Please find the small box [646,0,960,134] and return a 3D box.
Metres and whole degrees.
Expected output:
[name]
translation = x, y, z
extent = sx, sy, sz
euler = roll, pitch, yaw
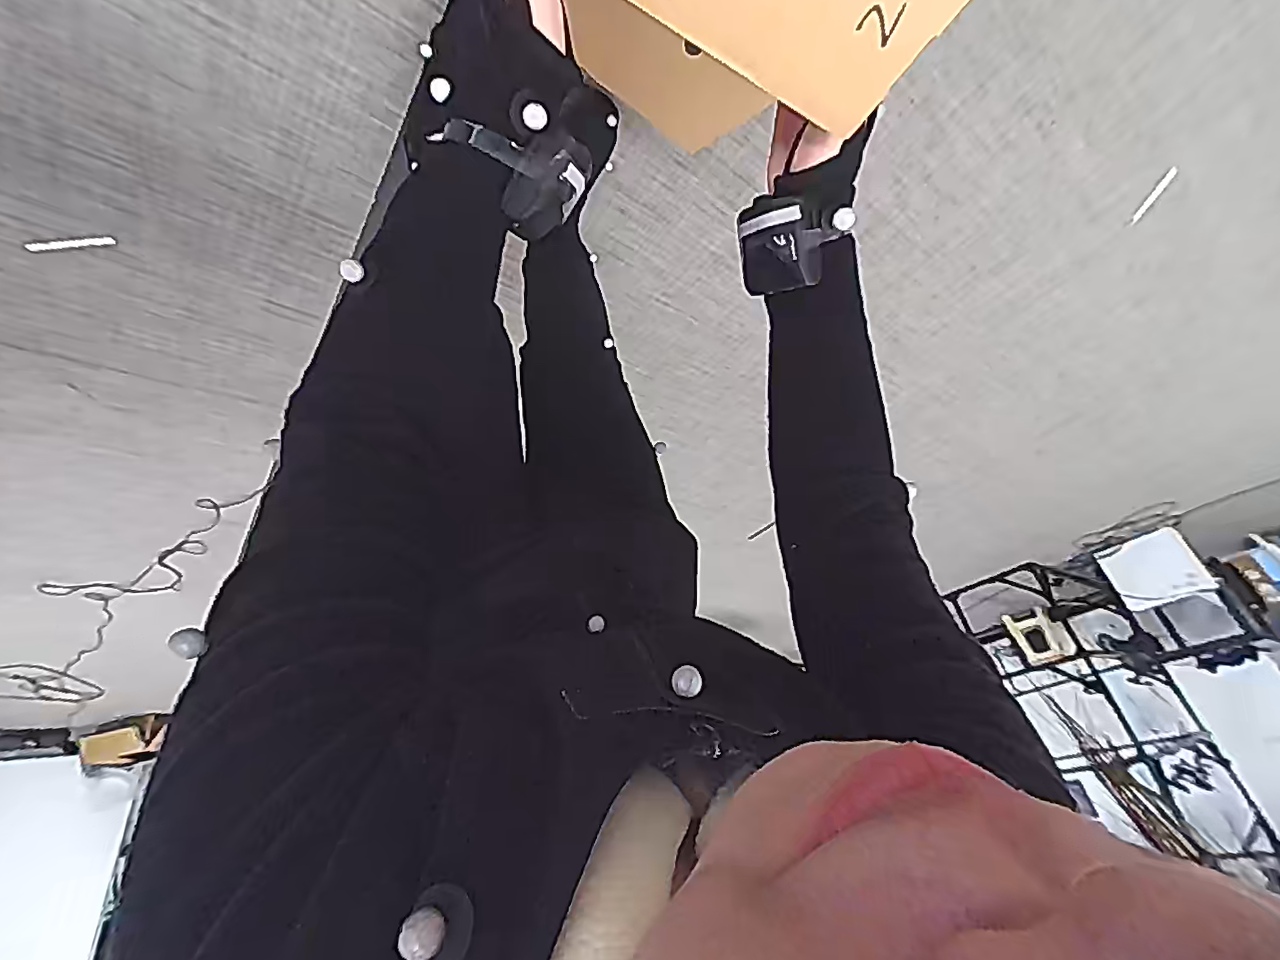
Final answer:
[small box]
translation = 0.077, -0.323, 0.257
extent = 0.179, 0.176, 0.168
euler = 6, 149, -33
